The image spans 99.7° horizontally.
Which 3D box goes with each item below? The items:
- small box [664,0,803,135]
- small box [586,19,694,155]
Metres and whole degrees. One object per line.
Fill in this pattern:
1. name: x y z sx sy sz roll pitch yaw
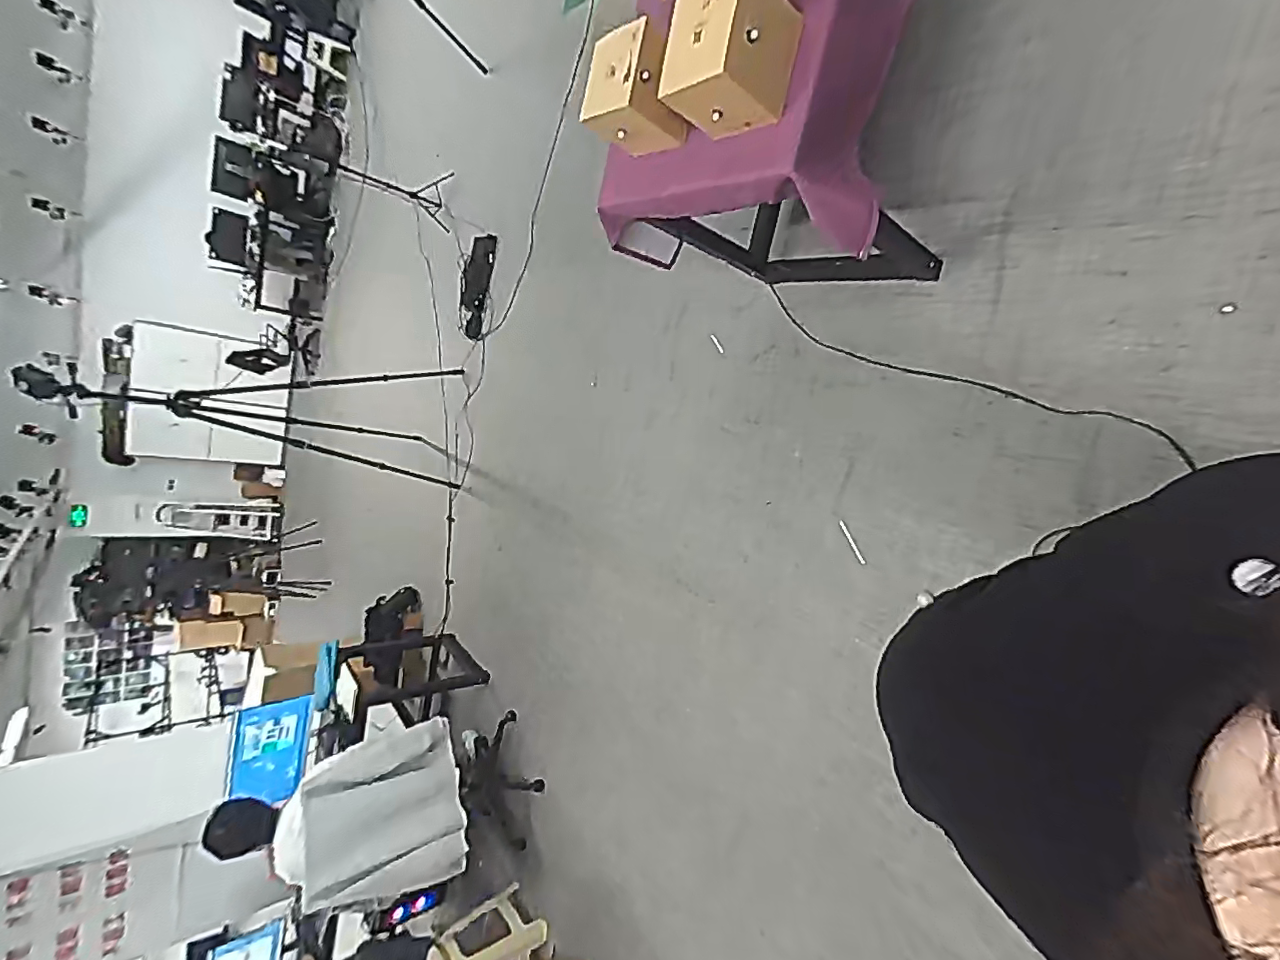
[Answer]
1. small box: 0.173 -0.766 0.991 0.168 0.176 0.179 22 103 47
2. small box: 0.012 -0.839 1.180 0.179 0.176 0.168 24 104 47
